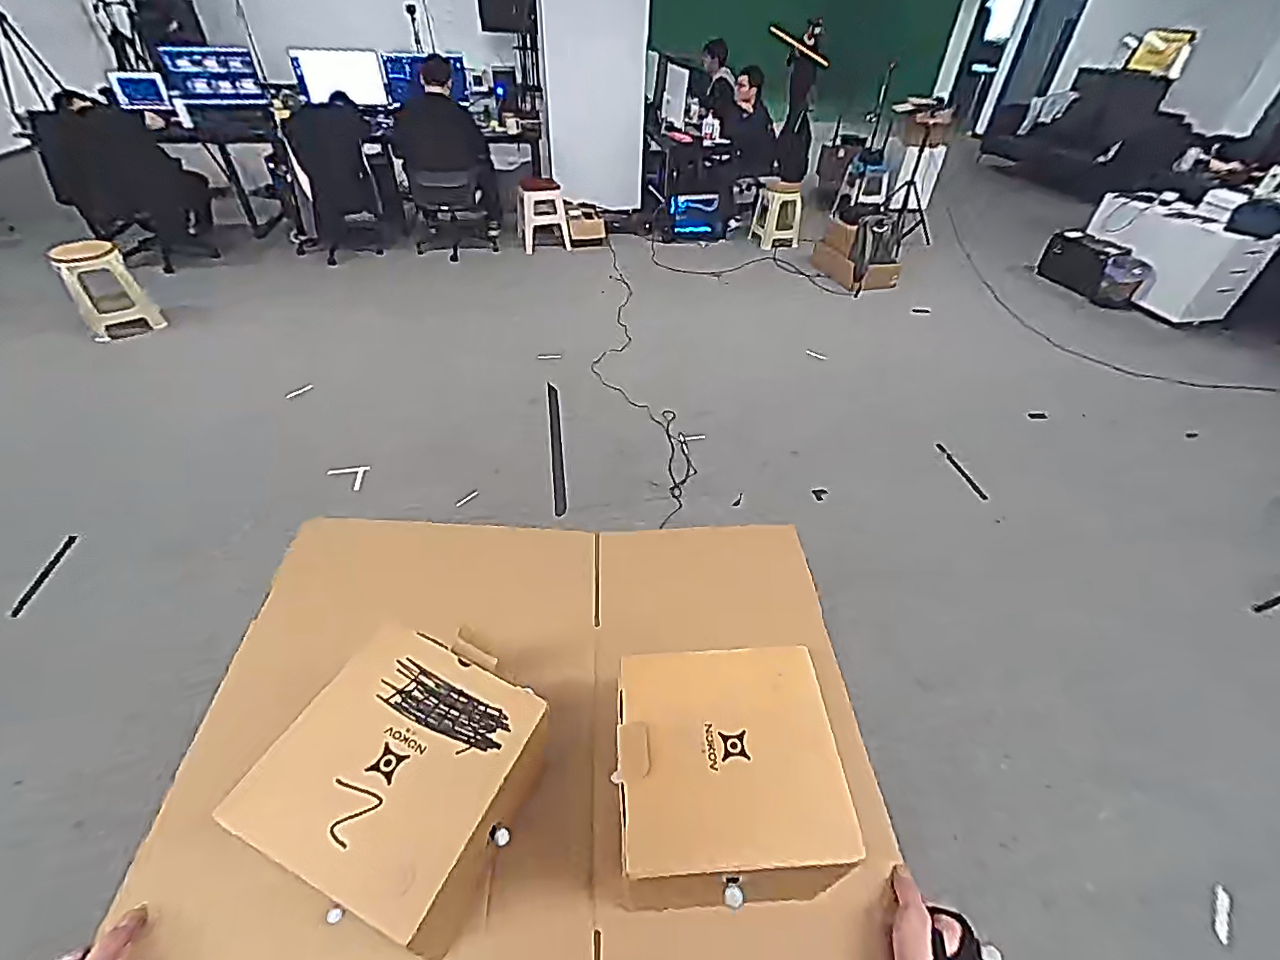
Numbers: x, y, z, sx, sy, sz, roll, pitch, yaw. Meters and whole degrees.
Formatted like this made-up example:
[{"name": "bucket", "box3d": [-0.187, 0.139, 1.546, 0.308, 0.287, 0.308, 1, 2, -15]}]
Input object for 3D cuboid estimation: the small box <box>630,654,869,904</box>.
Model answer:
[{"name": "small box", "box3d": [0.081, 0.281, 0.507, 0.179, 0.176, 0.168, -3, 45, -1]}]
